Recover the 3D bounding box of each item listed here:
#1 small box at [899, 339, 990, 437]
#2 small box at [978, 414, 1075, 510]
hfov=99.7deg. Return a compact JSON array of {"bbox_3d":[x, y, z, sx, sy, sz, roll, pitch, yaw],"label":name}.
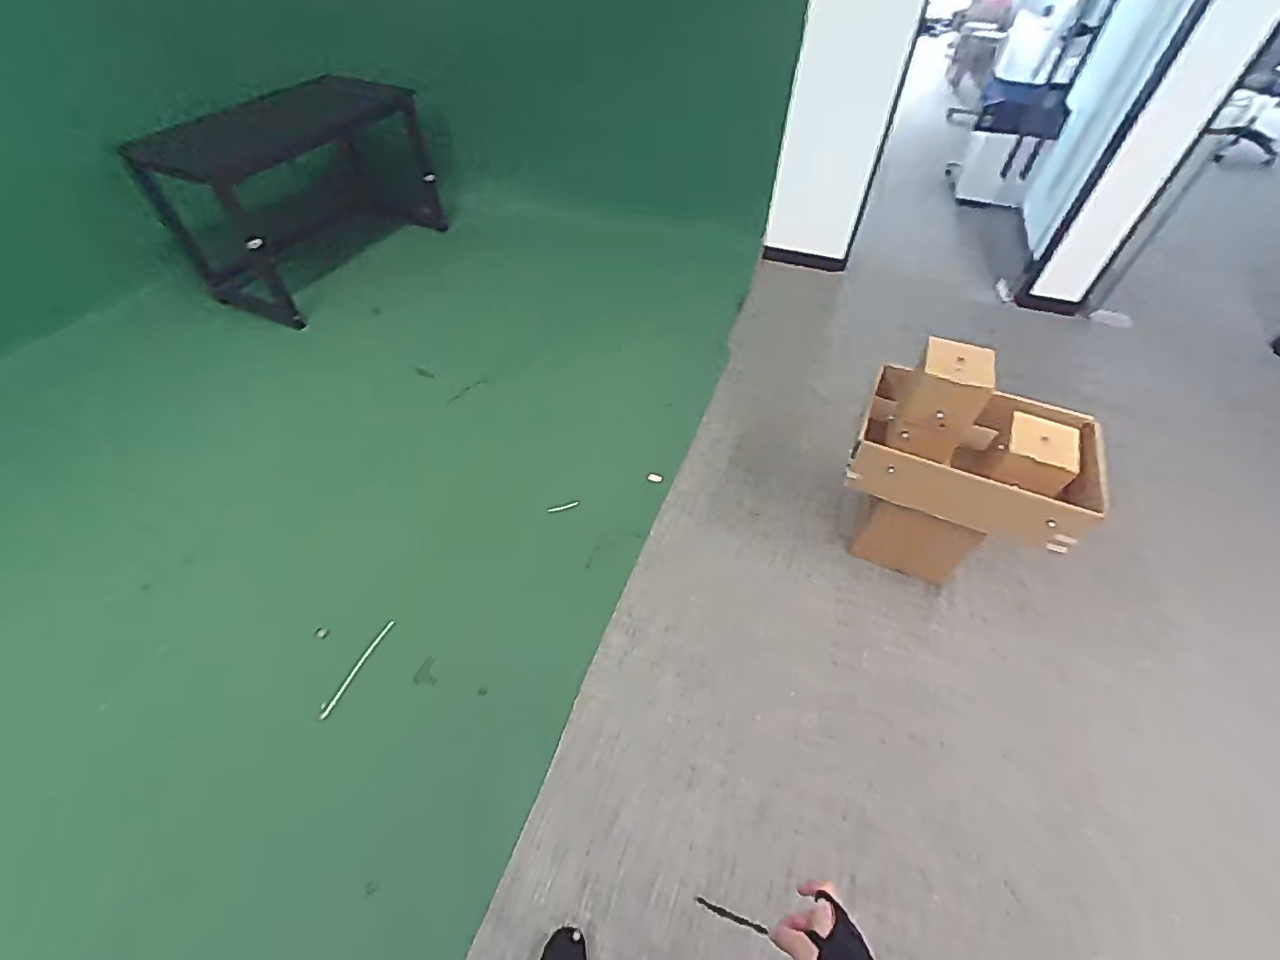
[{"bbox_3d":[0.825,-0.250,1.471,0.168,0.176,0.179,18,52,14],"label":"small box"},{"bbox_3d":[1.085,-0.050,1.525,0.168,0.176,0.179,22,54,16],"label":"small box"}]
